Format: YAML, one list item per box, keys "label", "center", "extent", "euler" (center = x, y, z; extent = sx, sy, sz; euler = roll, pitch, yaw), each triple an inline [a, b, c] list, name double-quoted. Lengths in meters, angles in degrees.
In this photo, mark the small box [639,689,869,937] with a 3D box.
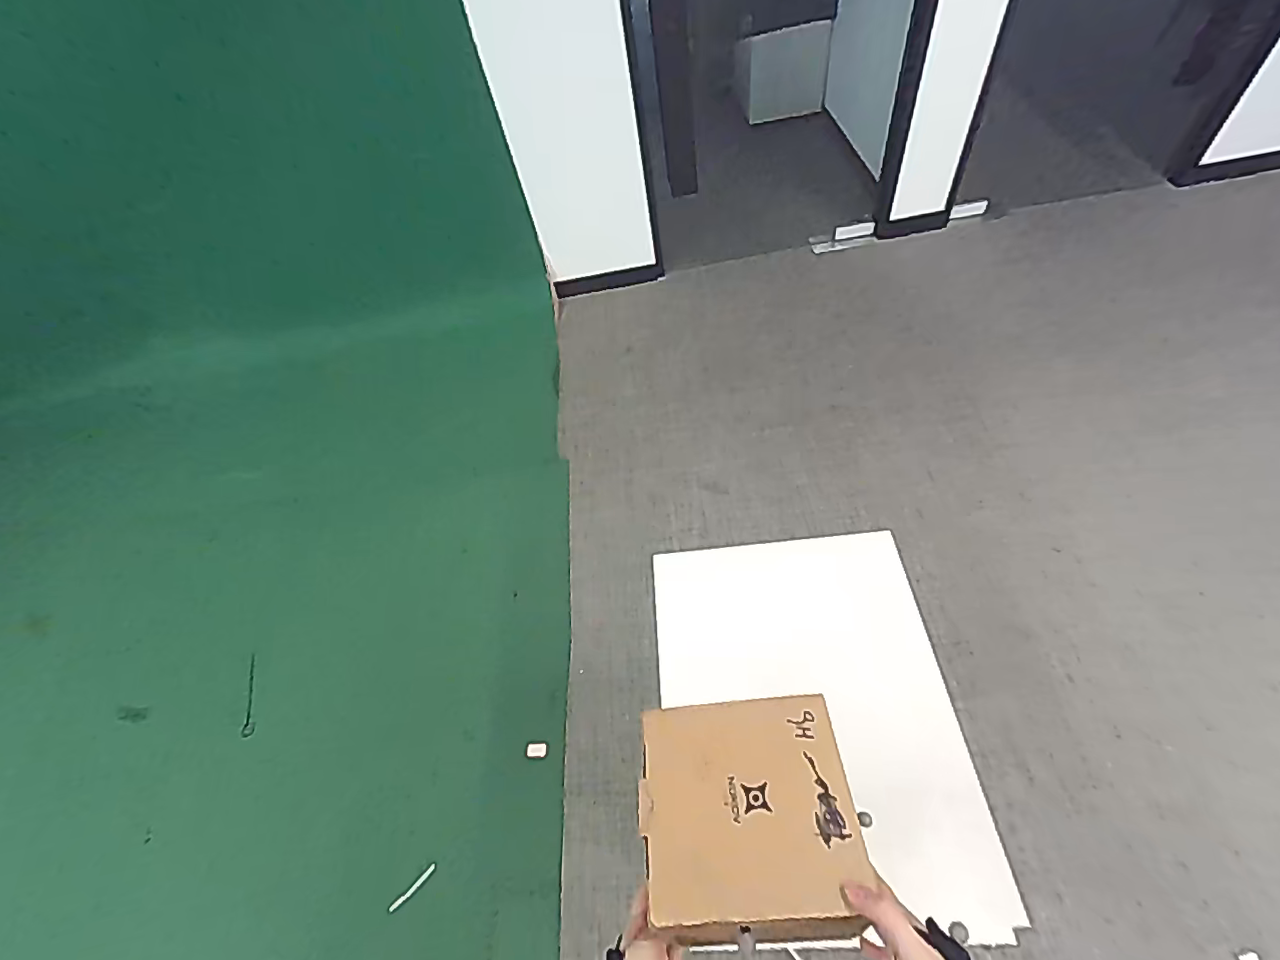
- label: "small box"
  center: [0.101, 0.322, 0.519]
  extent: [0.179, 0.176, 0.168]
  euler: [-8, 45, 7]
